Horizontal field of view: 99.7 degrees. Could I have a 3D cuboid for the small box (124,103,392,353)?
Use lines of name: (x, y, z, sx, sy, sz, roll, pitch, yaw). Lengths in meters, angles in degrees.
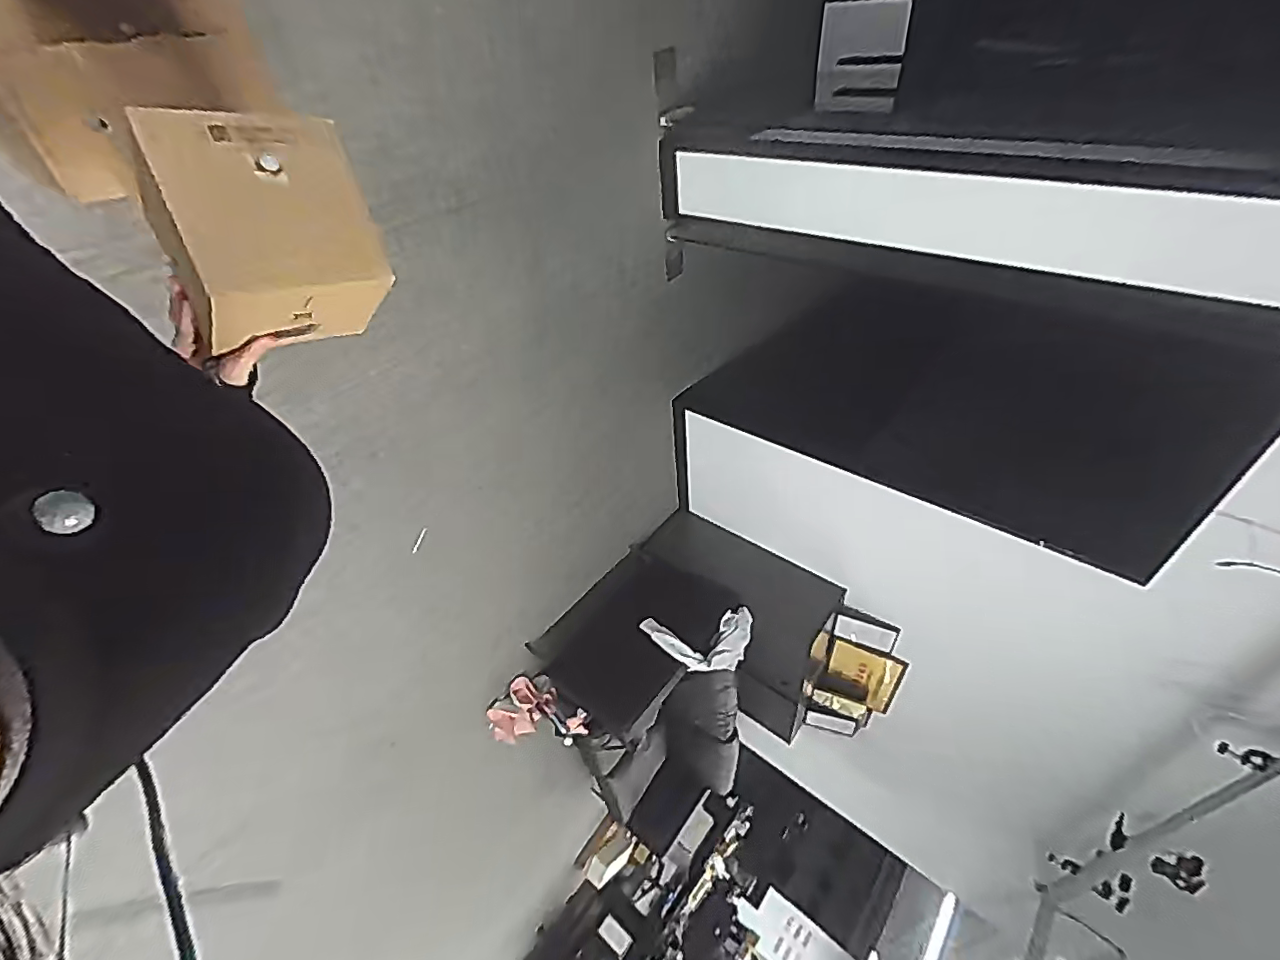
small box: (-0.391, -0.251, 0.566, 0.168, 0.179, 0.176, -25, 100, -37)
